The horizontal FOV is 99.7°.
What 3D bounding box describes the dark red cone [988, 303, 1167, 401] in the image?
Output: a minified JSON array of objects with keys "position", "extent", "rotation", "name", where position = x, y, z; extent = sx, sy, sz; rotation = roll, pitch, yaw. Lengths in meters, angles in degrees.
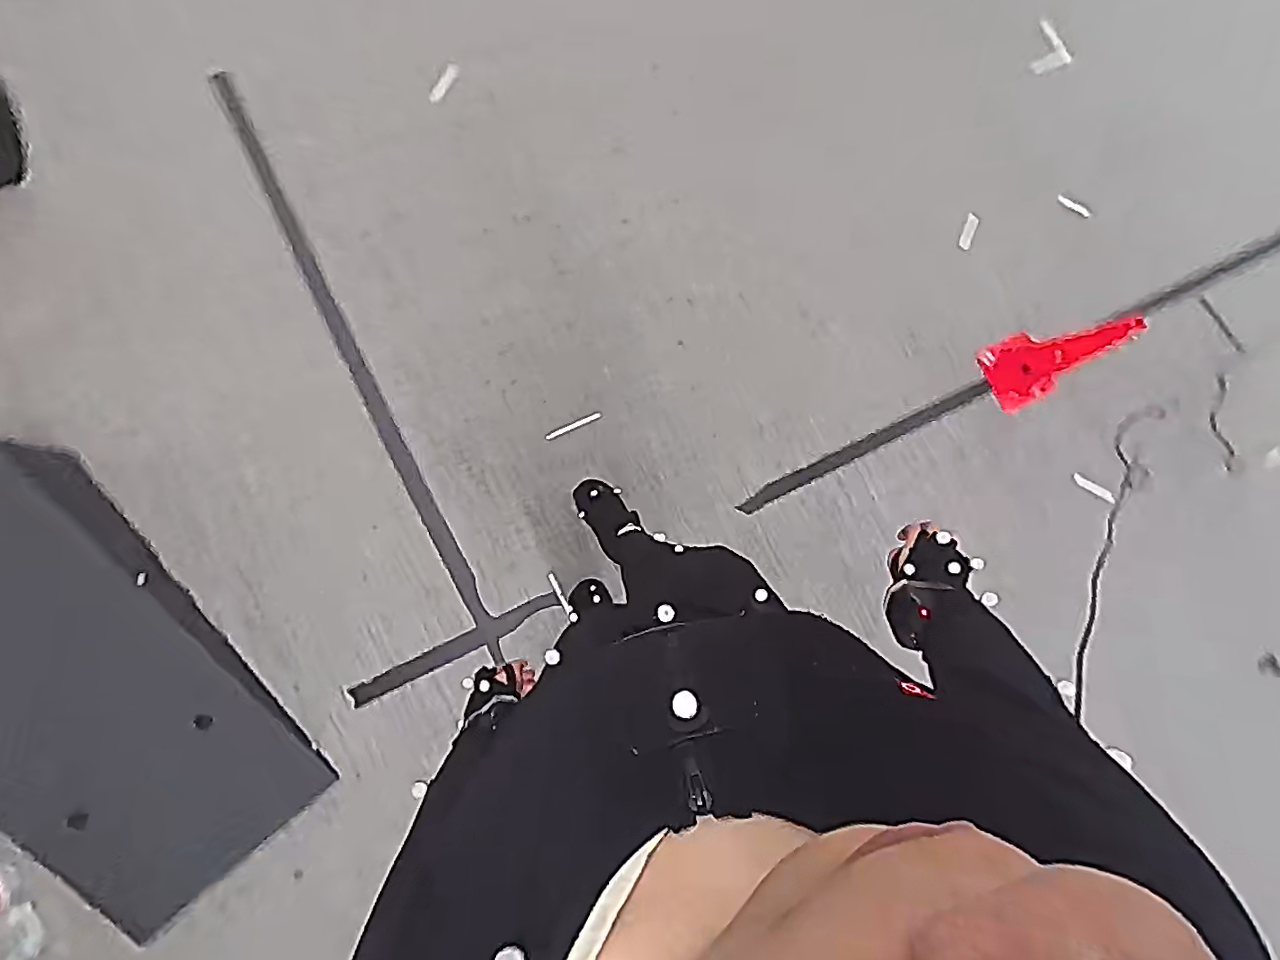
[{"position":[1.153,-0.365,1.422],"extent":[0.202,0.394,0.201],"rotation":[-27,89,-11],"name":"dark red cone"}]
